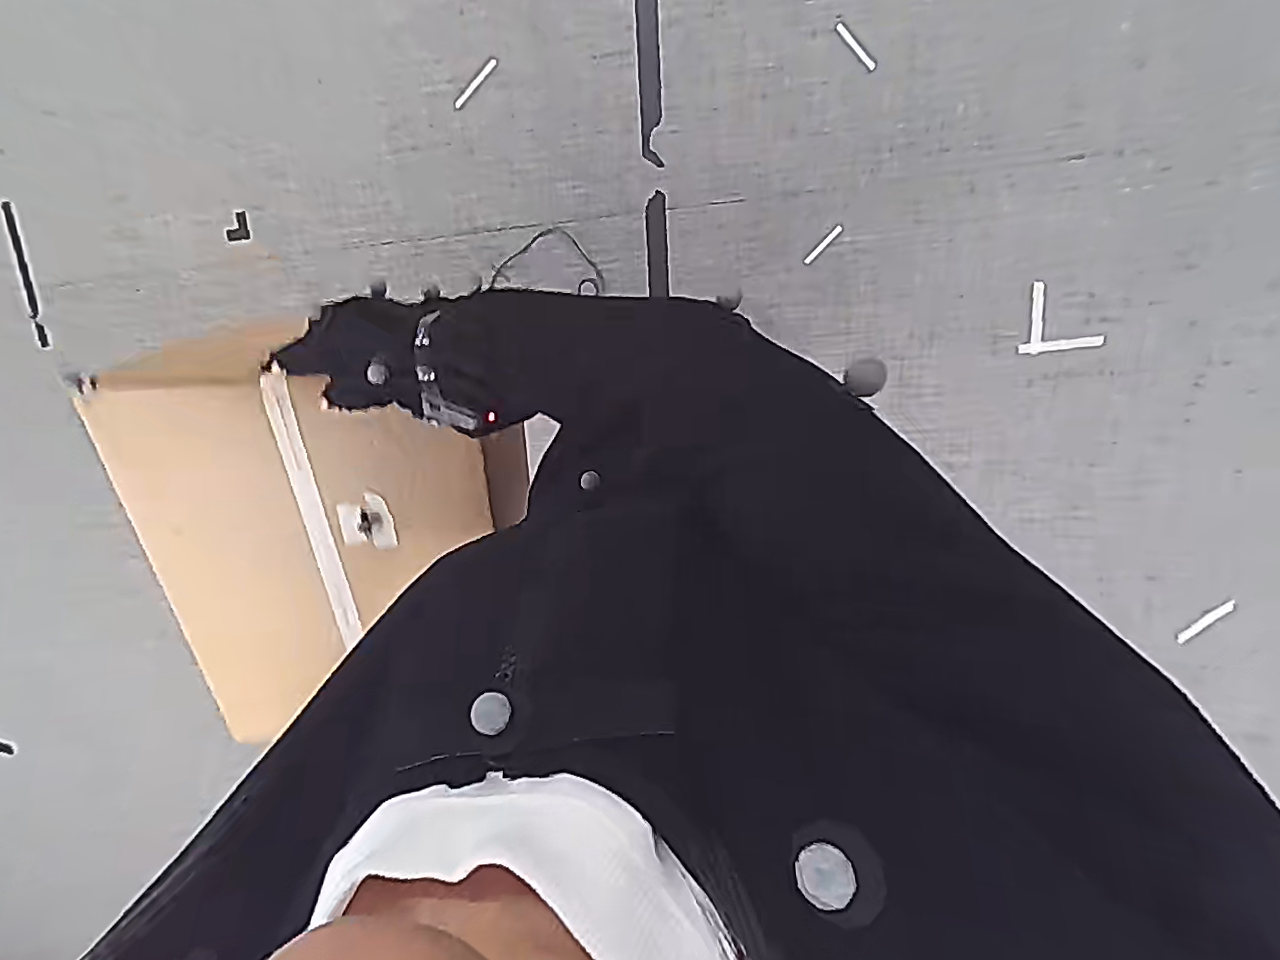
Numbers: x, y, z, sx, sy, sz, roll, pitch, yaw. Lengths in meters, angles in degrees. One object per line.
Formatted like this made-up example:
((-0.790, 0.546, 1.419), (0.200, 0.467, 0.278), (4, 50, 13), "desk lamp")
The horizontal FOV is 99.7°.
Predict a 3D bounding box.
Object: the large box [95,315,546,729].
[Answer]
((-0.302, 0.028, 0.670), (0.320, 0.320, 0.408), (-5, 114, -5), "large box")
